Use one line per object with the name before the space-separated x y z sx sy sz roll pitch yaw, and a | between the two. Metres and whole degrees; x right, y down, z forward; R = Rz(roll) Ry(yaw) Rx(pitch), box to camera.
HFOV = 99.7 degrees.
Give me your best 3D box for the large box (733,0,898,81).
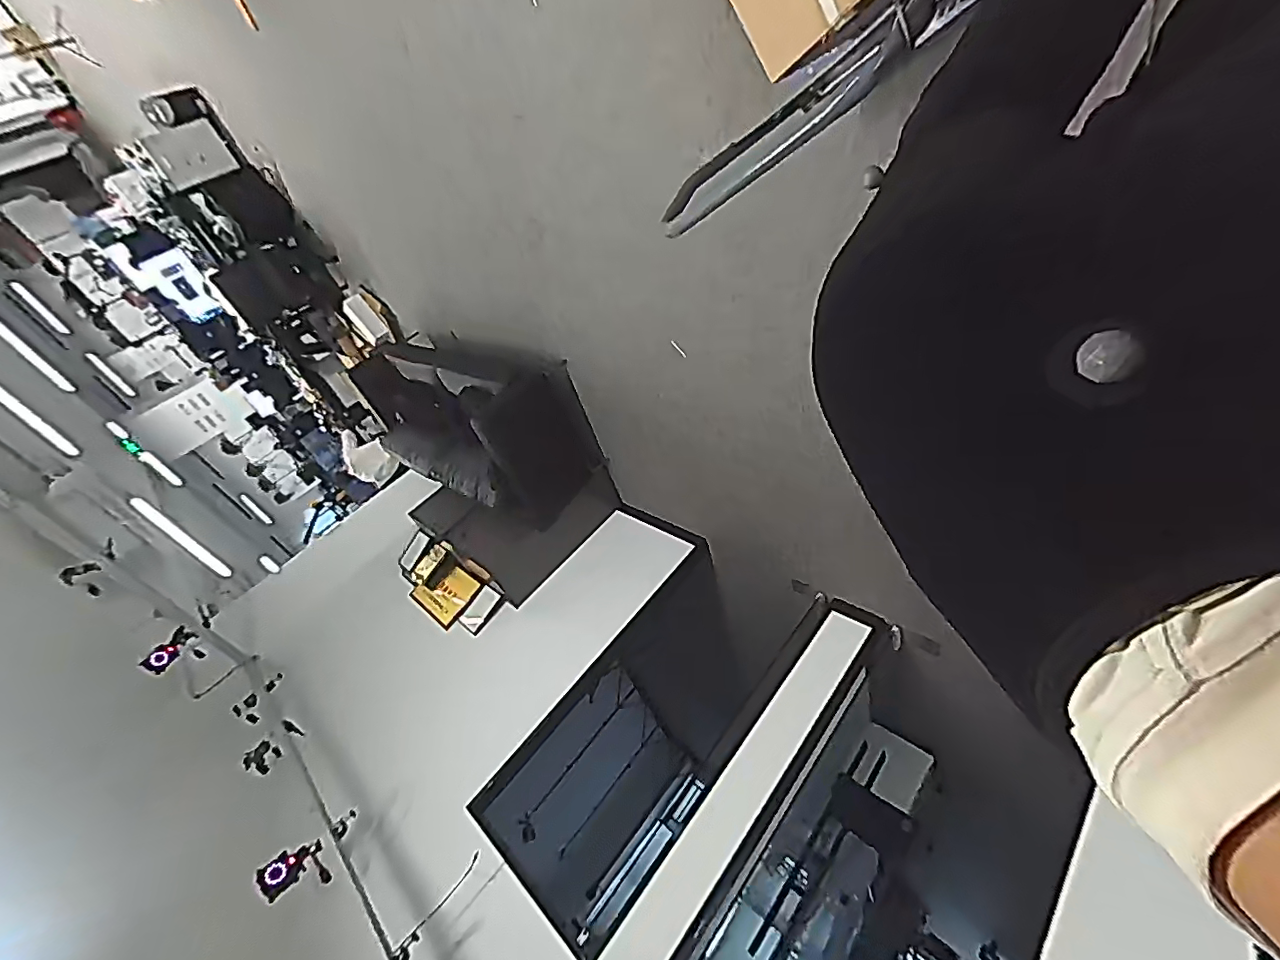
large box | 0.326 -1.021 0.925 0.408 0.320 0.320 55 153 -16
